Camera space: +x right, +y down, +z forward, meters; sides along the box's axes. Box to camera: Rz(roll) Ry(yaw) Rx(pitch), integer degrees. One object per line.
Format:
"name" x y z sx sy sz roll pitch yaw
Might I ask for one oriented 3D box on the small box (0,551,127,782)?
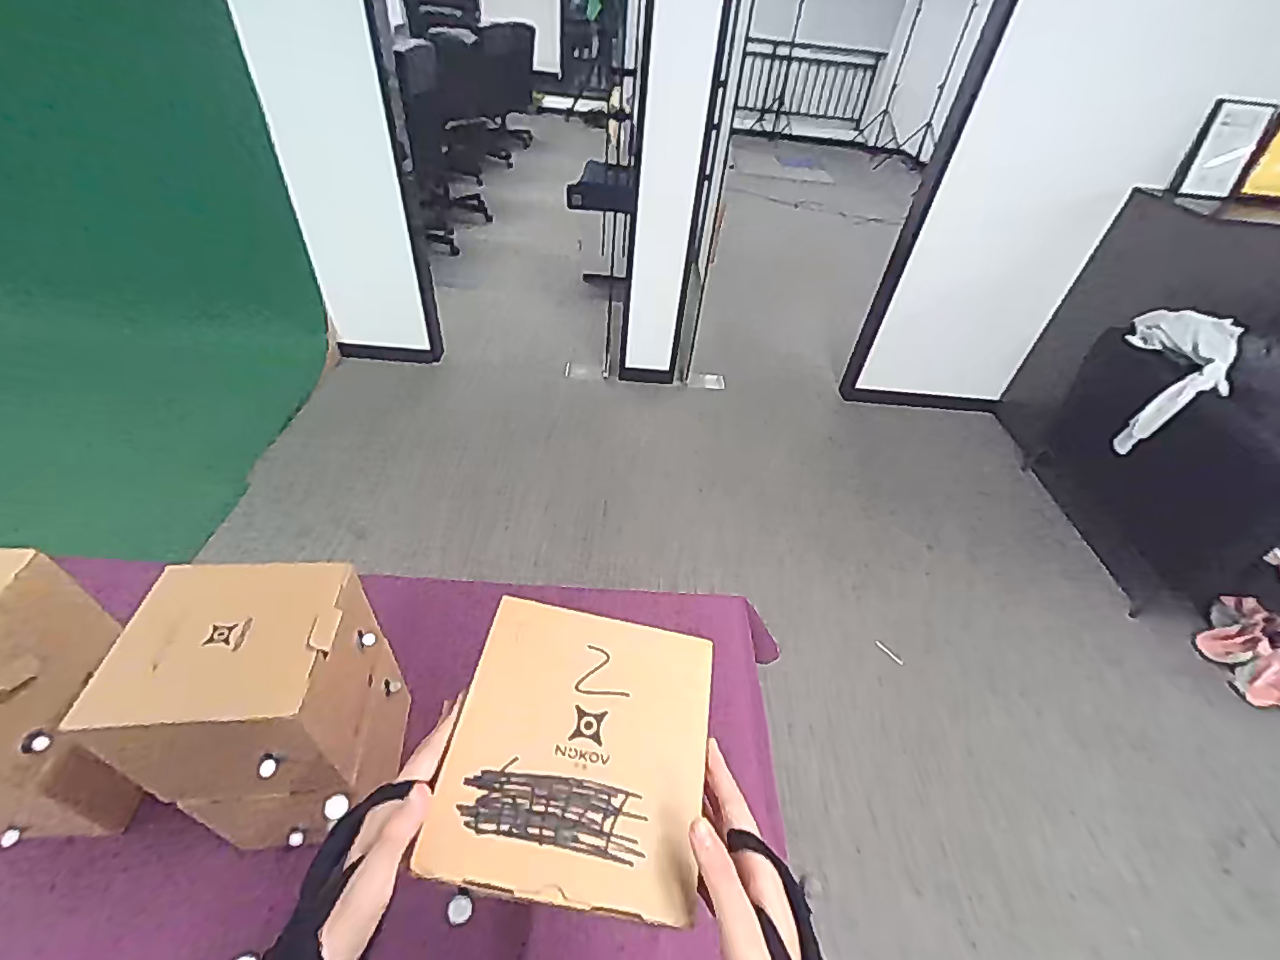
"small box" -0.680 0.184 0.530 0.179 0.176 0.168 2 44 -4

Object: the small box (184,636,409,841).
"small box" -0.397 0.317 0.669 0.168 0.176 0.179 -2 45 -8

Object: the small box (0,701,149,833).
"small box" -0.695 0.303 0.643 0.179 0.176 0.168 3 43 -5

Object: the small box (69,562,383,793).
"small box" -0.386 0.201 0.554 0.179 0.176 0.168 0 43 -7
